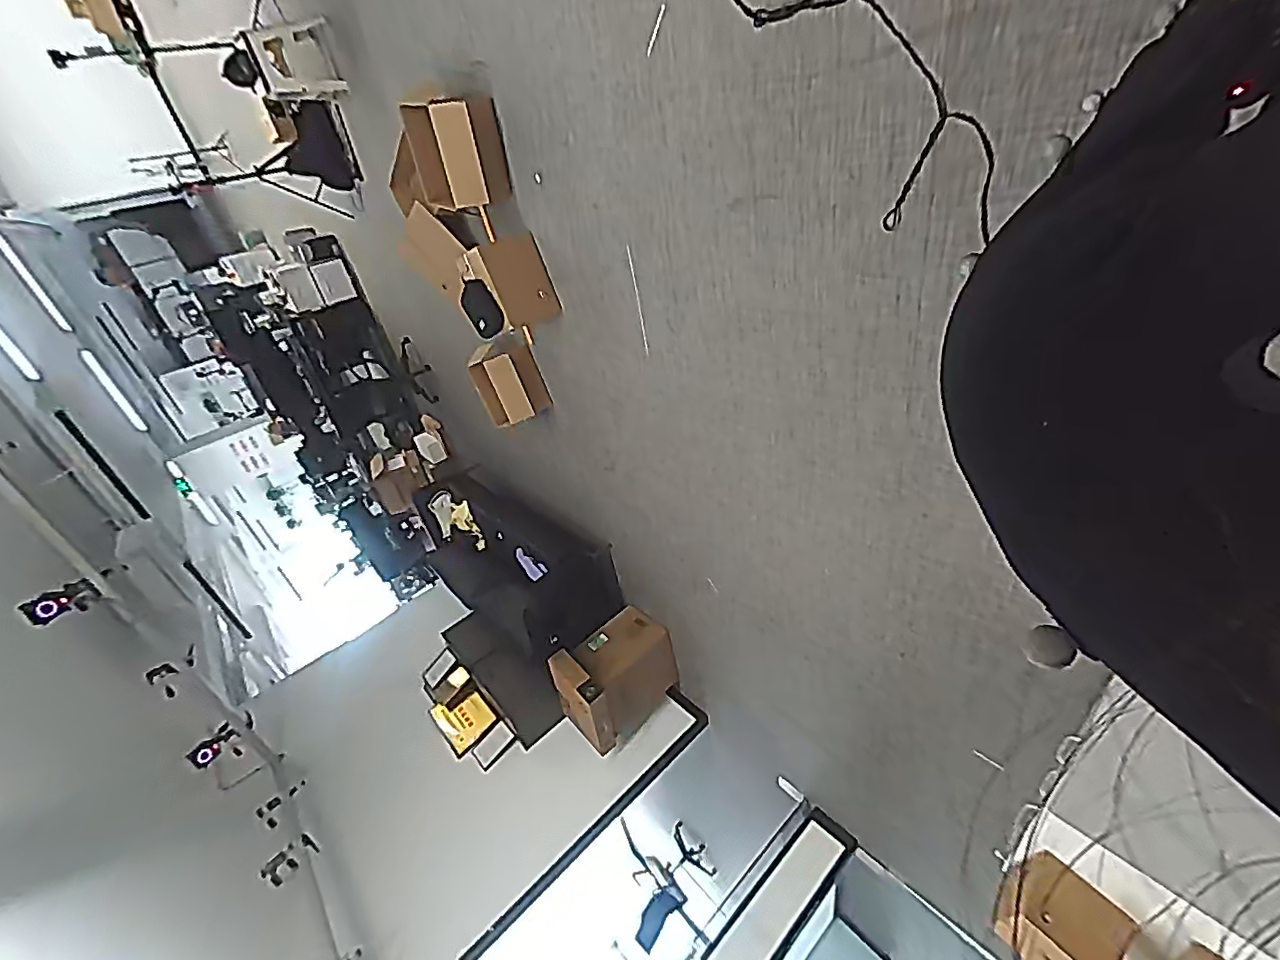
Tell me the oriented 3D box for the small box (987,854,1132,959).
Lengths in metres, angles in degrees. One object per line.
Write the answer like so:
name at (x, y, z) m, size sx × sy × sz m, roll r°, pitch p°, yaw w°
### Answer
small box at (0.919, 0.976, 1.187) m, size 0.179 × 0.176 × 0.168 m, roll 37°, pitch 145°, yaw 32°
